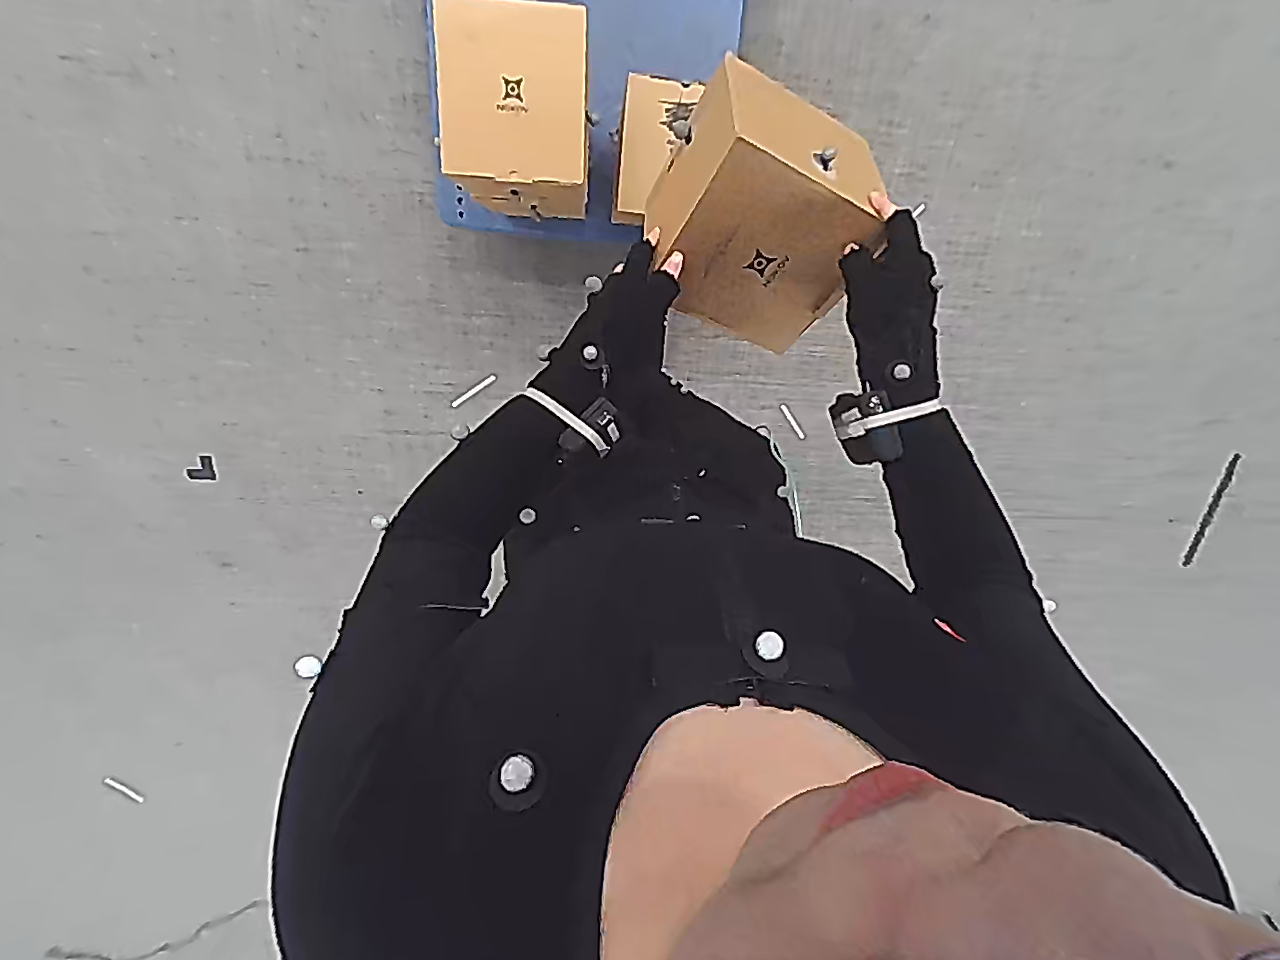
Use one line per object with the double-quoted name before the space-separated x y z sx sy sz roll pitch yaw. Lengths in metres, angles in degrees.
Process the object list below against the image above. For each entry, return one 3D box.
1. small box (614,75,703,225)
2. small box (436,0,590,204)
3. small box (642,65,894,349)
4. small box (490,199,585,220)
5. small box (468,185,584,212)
"small box" 0.048 -0.504 0.861 0.168 0.176 0.179 4 112 -6
"small box" -0.149 -0.462 0.685 0.168 0.176 0.179 1 111 -5
"small box" 0.116 -0.272 0.550 0.179 0.176 0.168 17 142 -20
"small box" -0.183 -0.580 0.990 0.168 0.176 0.179 1 111 -6
"small box" -0.172 -0.519 0.837 0.168 0.176 0.179 -1 112 -5
